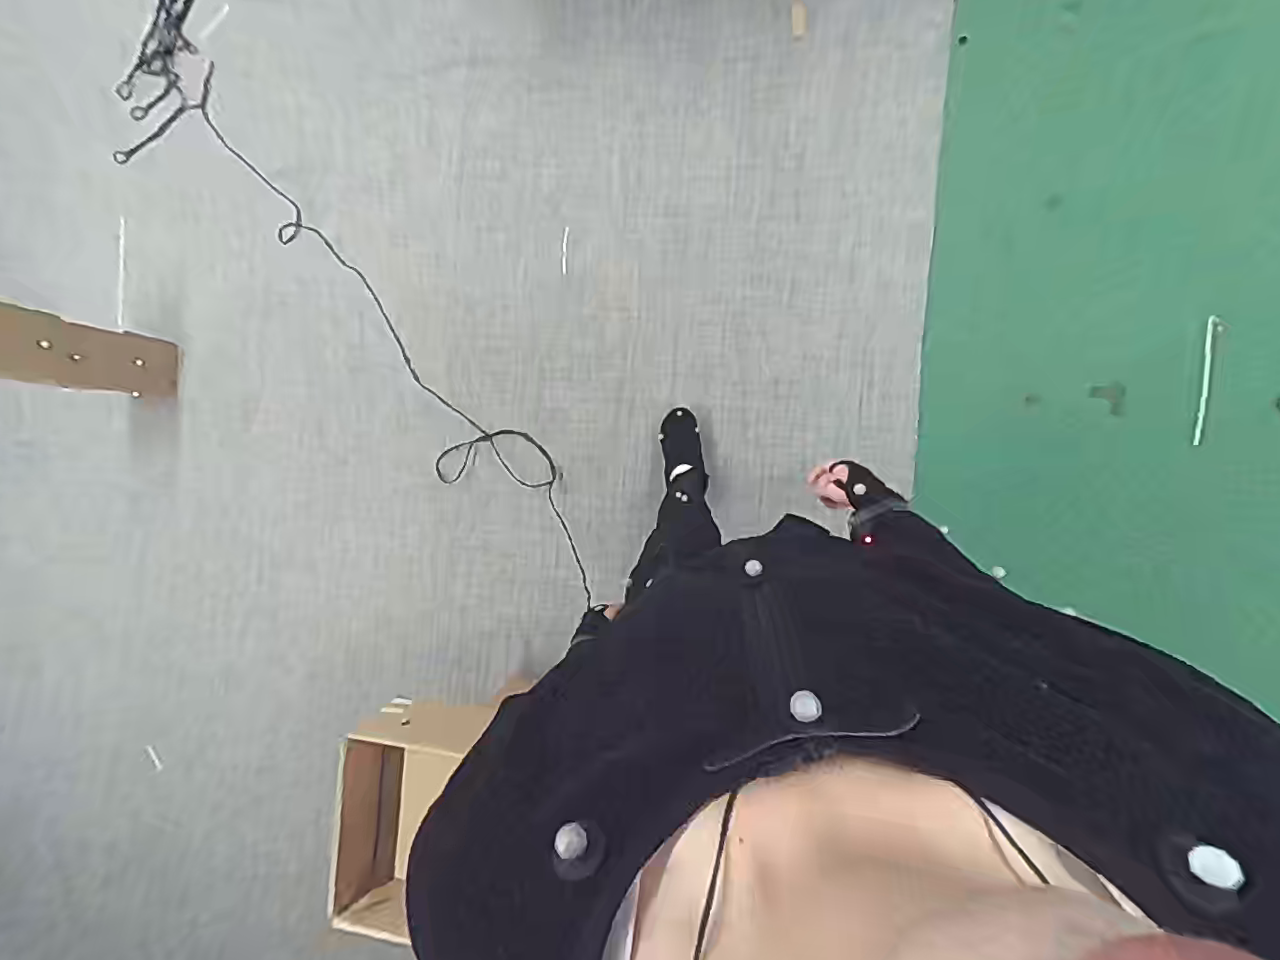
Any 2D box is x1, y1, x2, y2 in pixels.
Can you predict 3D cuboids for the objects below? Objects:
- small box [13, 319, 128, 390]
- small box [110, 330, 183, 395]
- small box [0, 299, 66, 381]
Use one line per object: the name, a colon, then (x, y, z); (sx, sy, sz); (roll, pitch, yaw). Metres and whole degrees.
small box: (-1.620, -0.354, 1.544); (0.168, 0.176, 0.179); (4, 91, 8)
small box: (-1.593, -0.366, 1.705); (0.168, 0.176, 0.179); (3, 91, 9)
small box: (-1.630, -0.357, 1.380); (0.168, 0.176, 0.179); (2, 90, 9)
